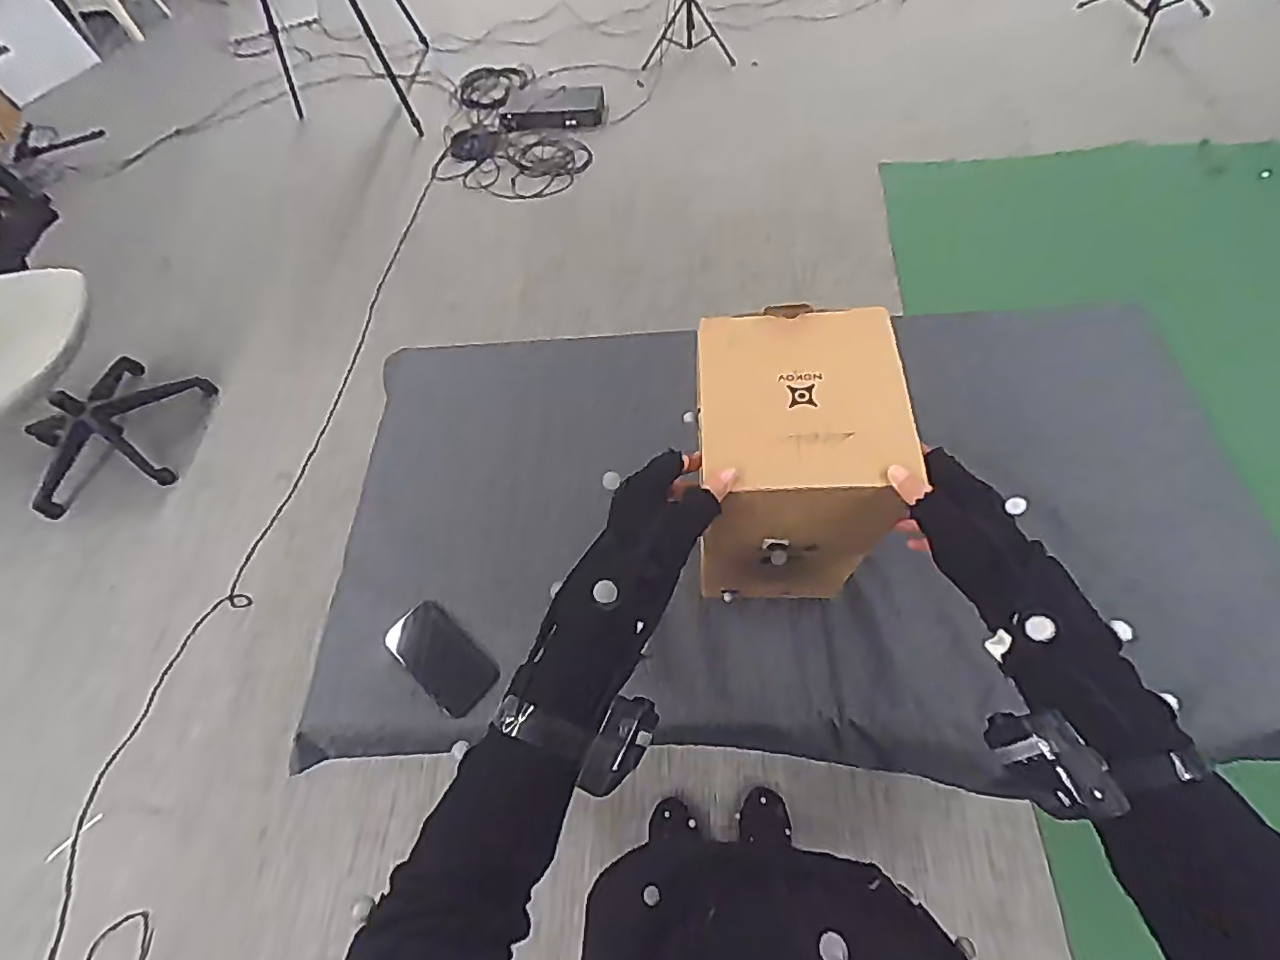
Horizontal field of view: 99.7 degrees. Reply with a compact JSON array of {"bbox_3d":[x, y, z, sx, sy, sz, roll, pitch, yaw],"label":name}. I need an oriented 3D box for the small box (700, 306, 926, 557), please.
[{"bbox_3d":[0.141,-0.036,0.513,0.168,0.176,0.179,-3,65,7],"label":"small box"}]

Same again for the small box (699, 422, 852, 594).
[{"bbox_3d":[0.156,0.034,0.658,0.168,0.176,0.179,-1,61,6],"label":"small box"}]
